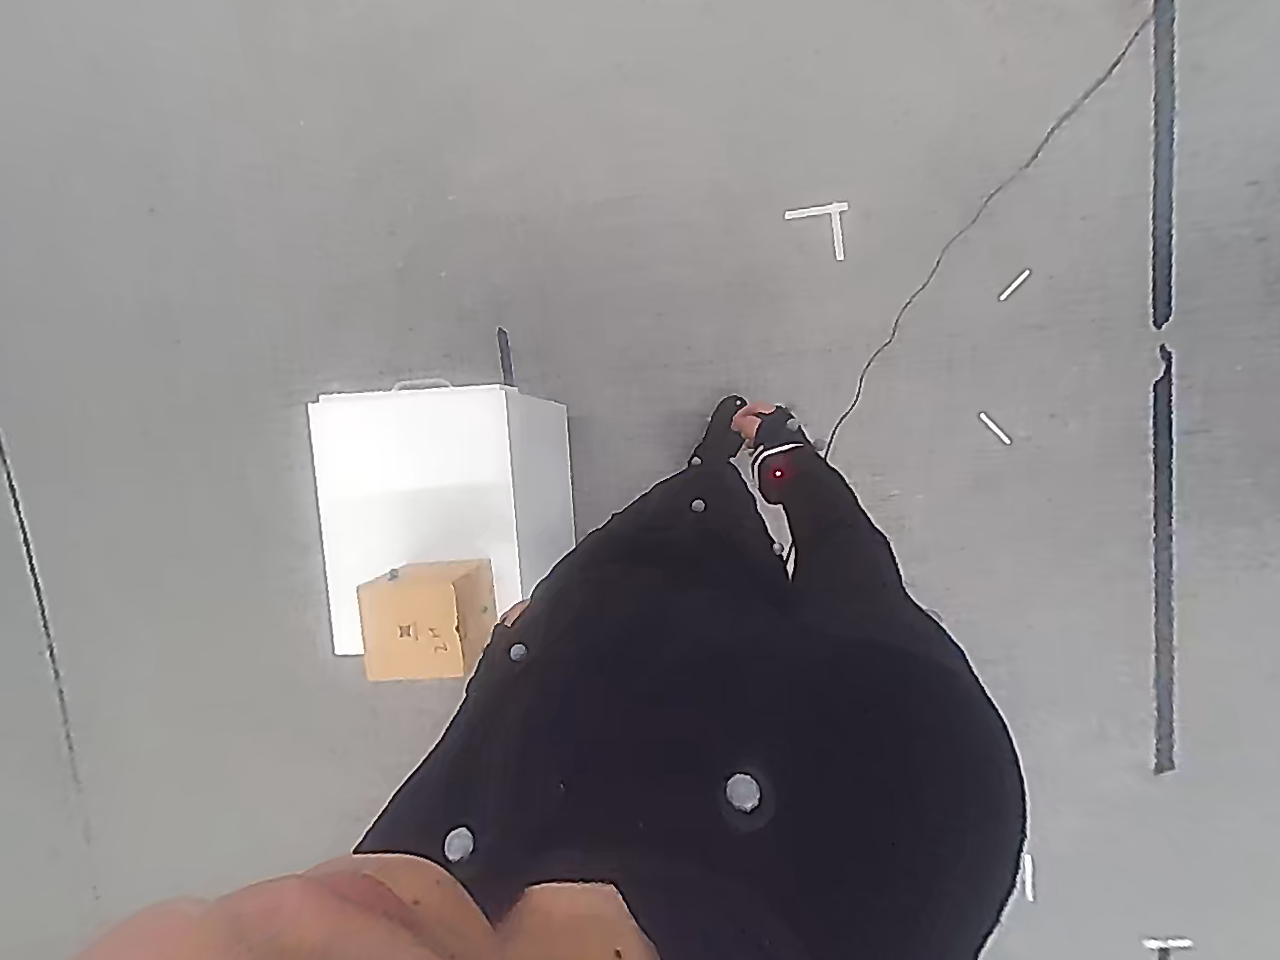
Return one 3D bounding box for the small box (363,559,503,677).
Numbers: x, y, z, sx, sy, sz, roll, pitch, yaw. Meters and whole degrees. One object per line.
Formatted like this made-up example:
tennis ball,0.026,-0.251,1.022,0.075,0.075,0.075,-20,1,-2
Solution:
small box,-0.369,0.245,0.988,0.179,0.176,0.168,-4,95,6
